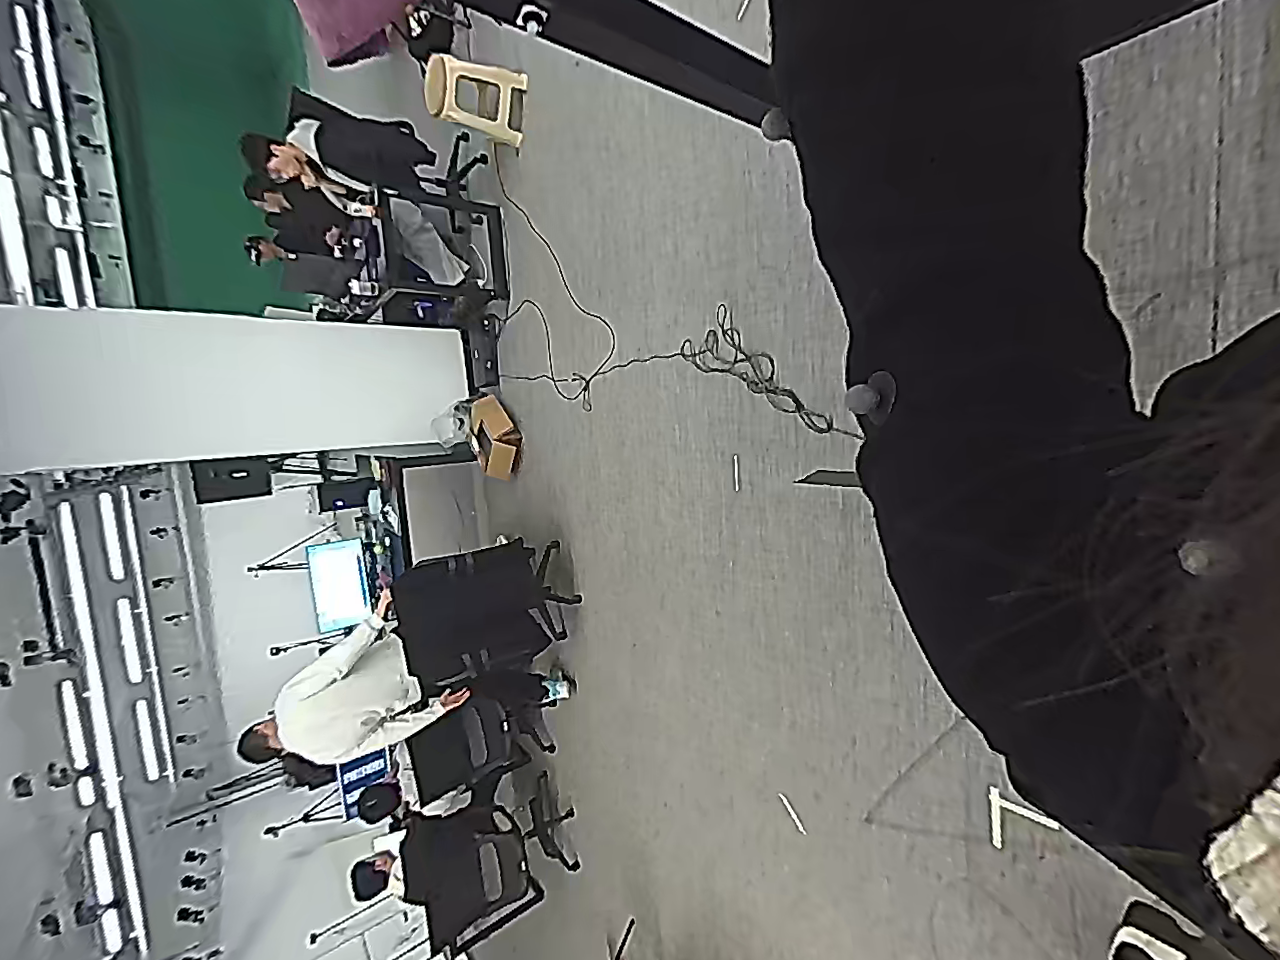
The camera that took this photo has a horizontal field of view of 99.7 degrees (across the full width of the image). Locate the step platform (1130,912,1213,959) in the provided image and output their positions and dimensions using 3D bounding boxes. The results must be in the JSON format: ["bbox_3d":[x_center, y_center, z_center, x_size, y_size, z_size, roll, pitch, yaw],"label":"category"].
[{"bbox_3d":[1.277,1.148,0.925,0.684,0.204,0.286,14,107,50],"label":"step platform"}]
